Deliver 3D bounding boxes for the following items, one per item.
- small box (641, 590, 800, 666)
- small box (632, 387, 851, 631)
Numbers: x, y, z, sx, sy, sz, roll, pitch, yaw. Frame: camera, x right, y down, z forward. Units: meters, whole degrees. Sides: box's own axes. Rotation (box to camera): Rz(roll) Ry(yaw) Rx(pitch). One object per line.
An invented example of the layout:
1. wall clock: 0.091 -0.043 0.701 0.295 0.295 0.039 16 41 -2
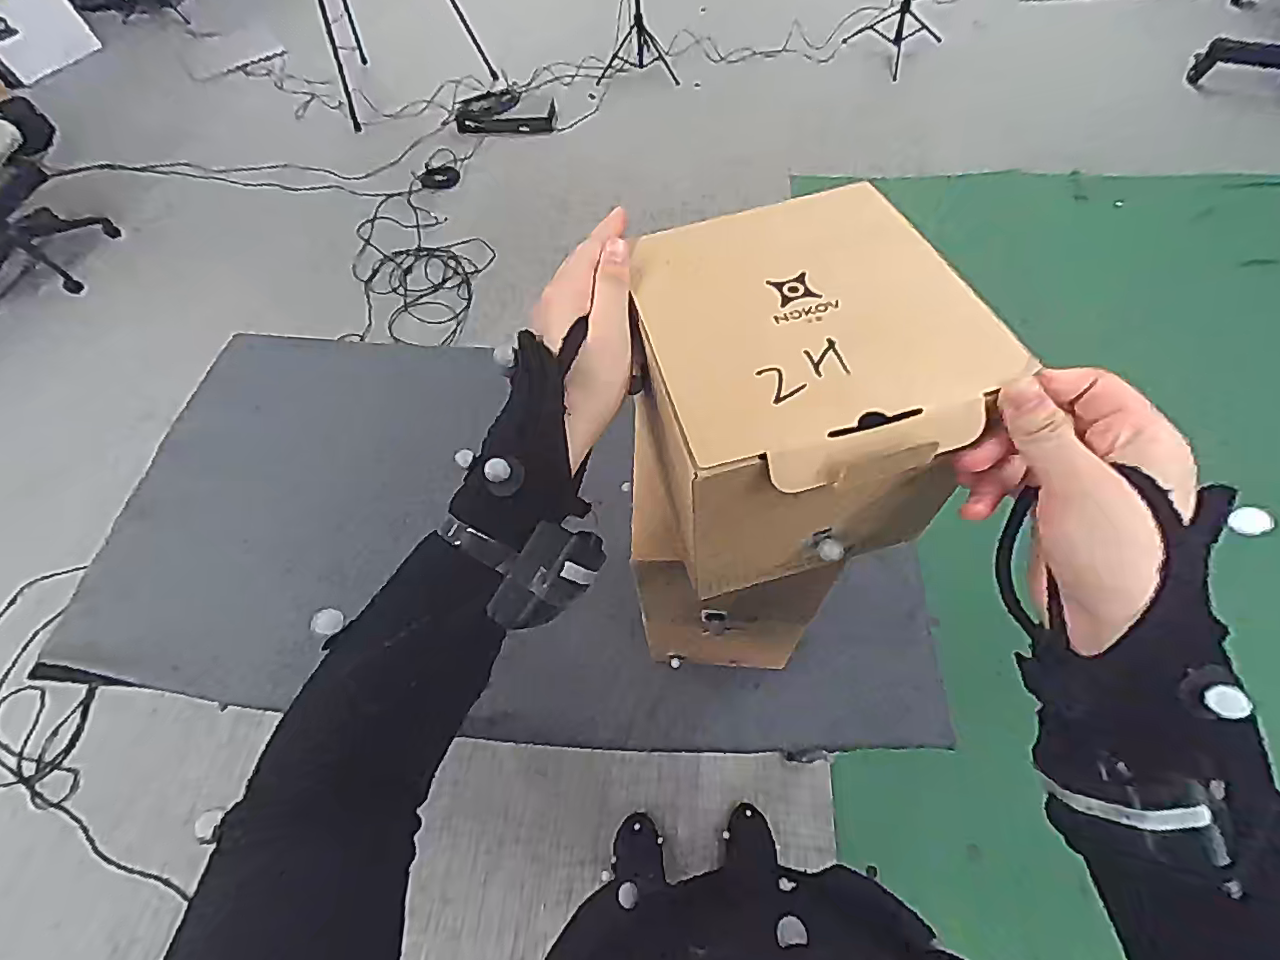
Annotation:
1. small box: 0.096 0.116 0.655 0.168 0.176 0.179 2 57 7
2. small box: 0.084 0.033 0.515 0.168 0.176 0.179 -2 59 5
